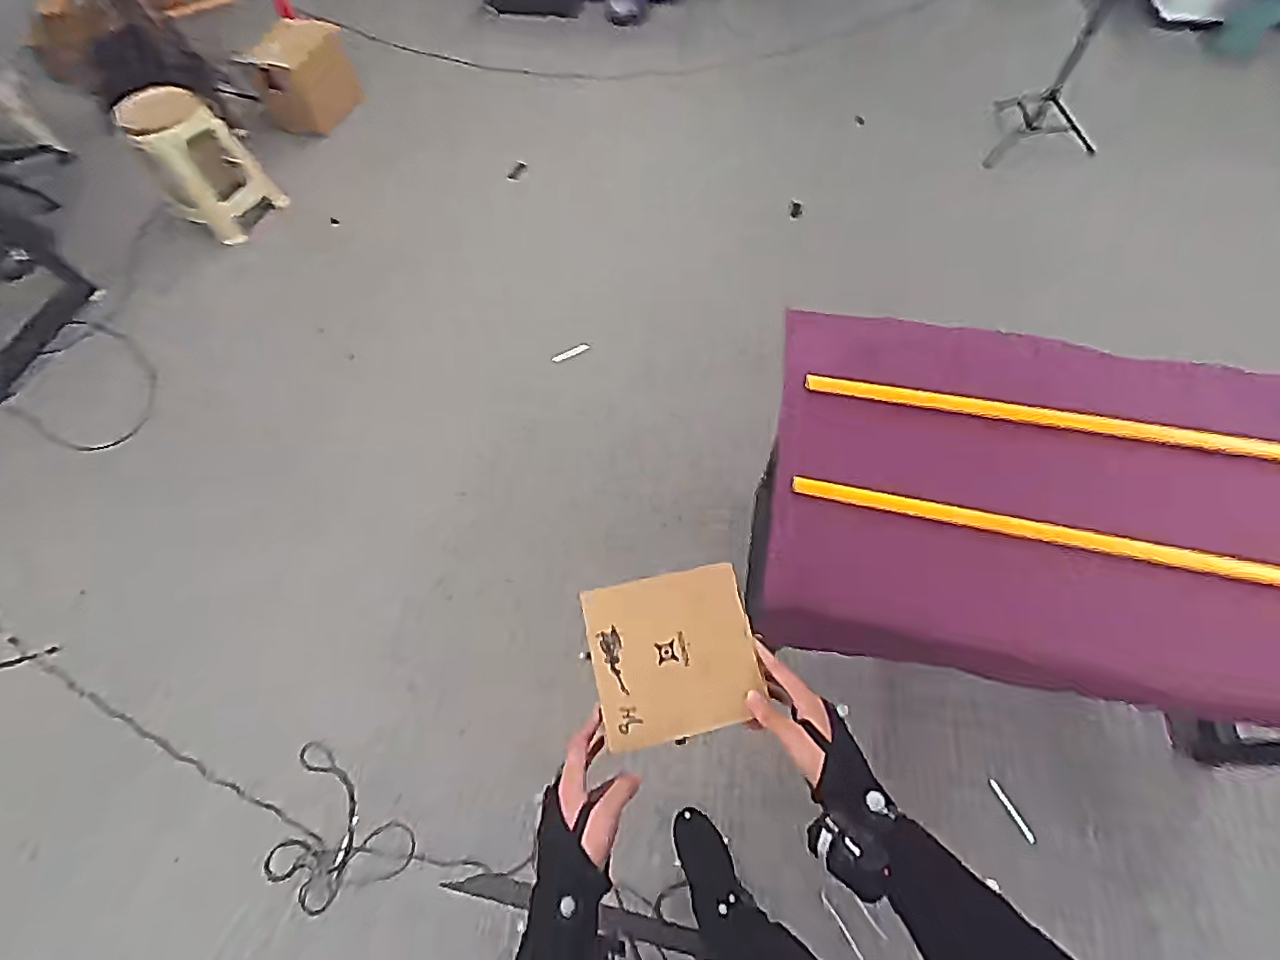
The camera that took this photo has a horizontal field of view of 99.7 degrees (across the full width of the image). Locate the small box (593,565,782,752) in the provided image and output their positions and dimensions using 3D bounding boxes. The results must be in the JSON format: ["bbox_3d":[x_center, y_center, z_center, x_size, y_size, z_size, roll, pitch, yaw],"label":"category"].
[{"bbox_3d":[0.041,0.210,0.643,0.179,0.176,0.168,-9,69,-8],"label":"small box"}]
